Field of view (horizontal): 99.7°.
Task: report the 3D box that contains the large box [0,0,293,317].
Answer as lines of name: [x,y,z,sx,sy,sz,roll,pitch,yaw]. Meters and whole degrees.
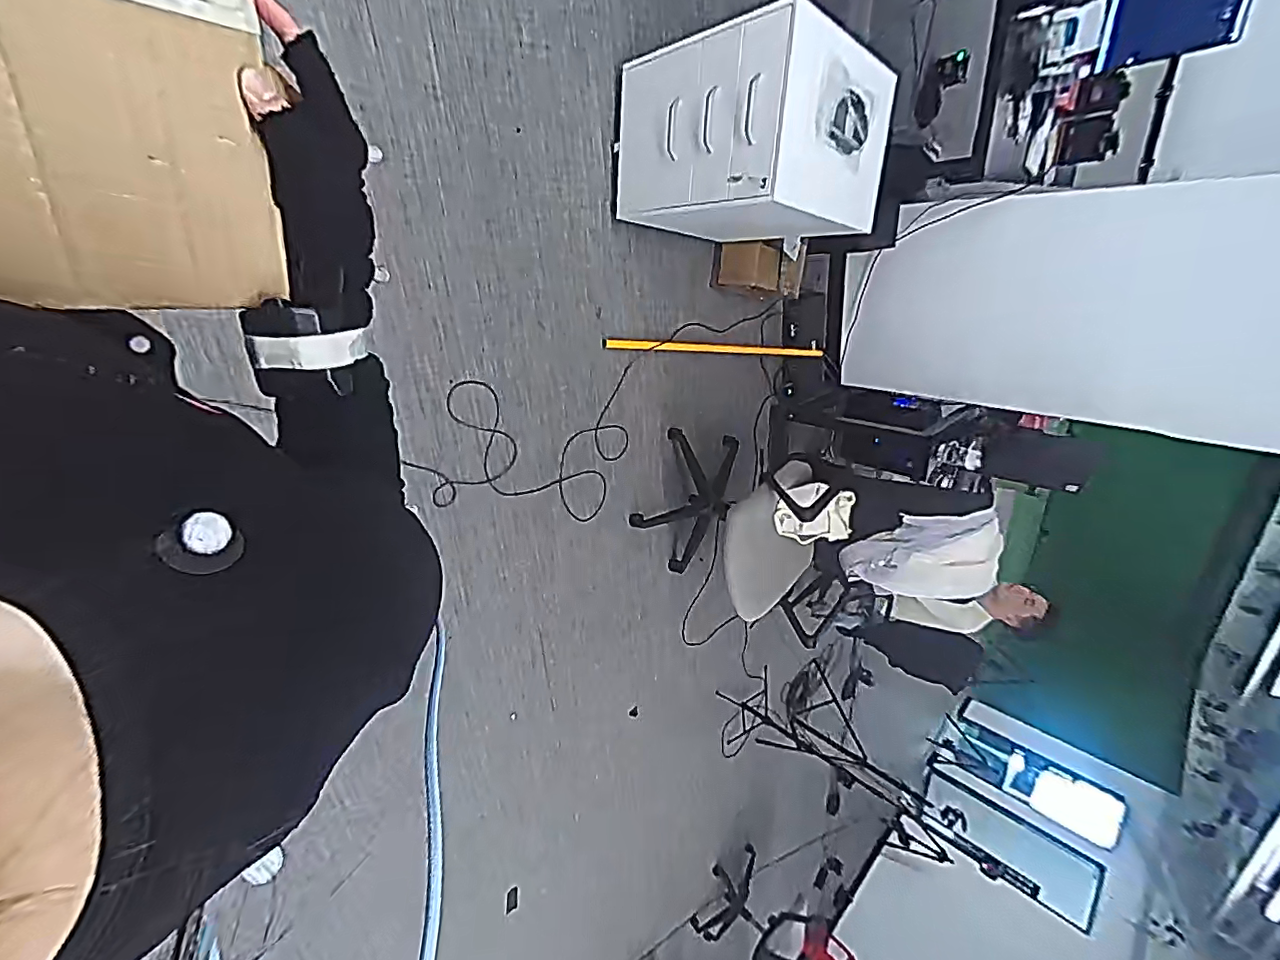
large box: [-0.457,-0.276,0.261,0.408,0.320,0.320,-16,132,-40]
